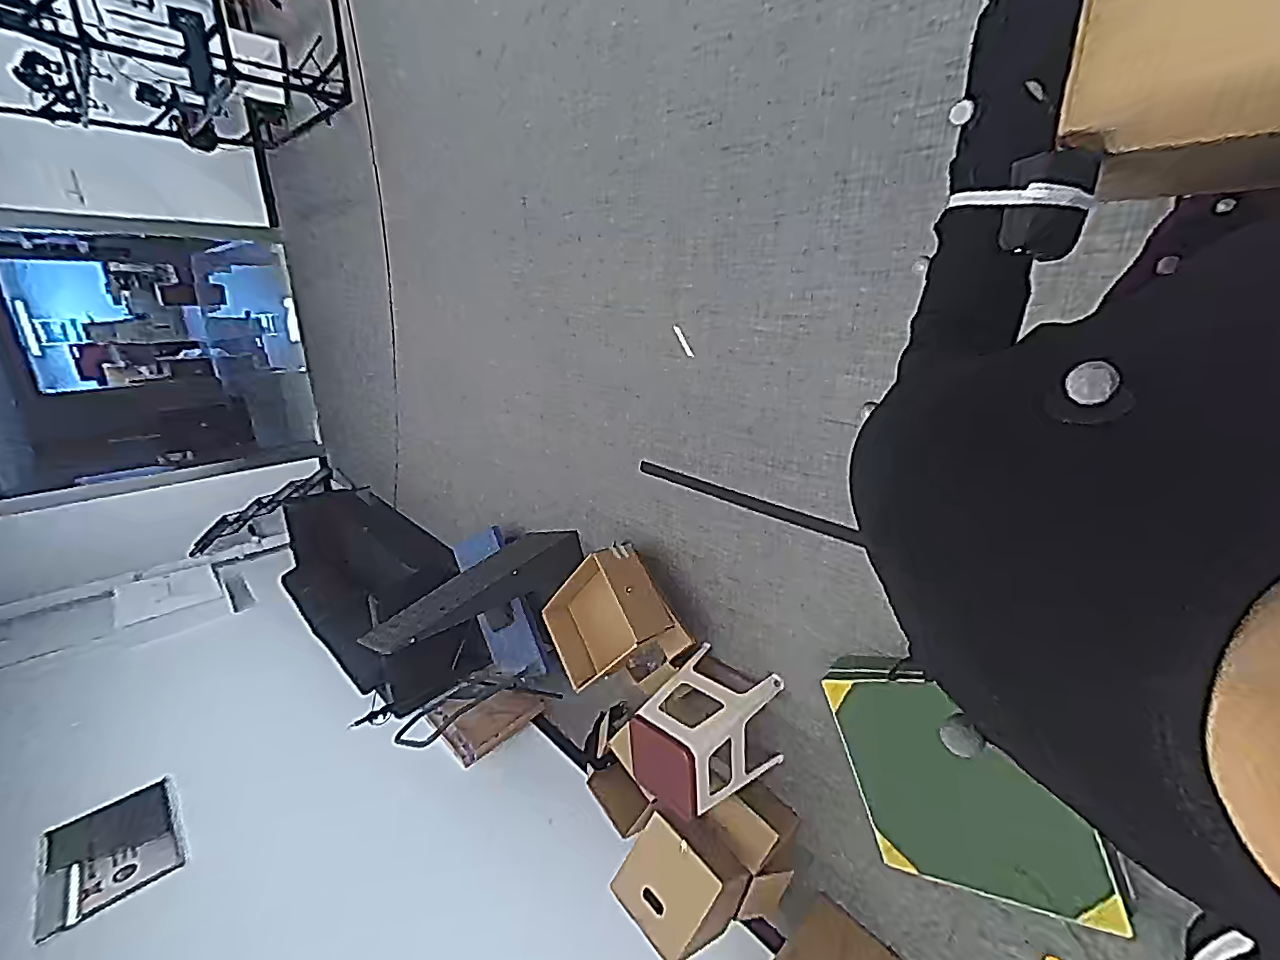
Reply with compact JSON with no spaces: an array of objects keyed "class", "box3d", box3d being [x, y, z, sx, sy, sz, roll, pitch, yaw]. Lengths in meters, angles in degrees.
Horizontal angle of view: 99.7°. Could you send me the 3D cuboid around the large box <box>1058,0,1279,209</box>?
[{"class":"large box","box3d":[0.544,-0.374,0.331,0.408,0.320,0.320,14,115,39]}]
